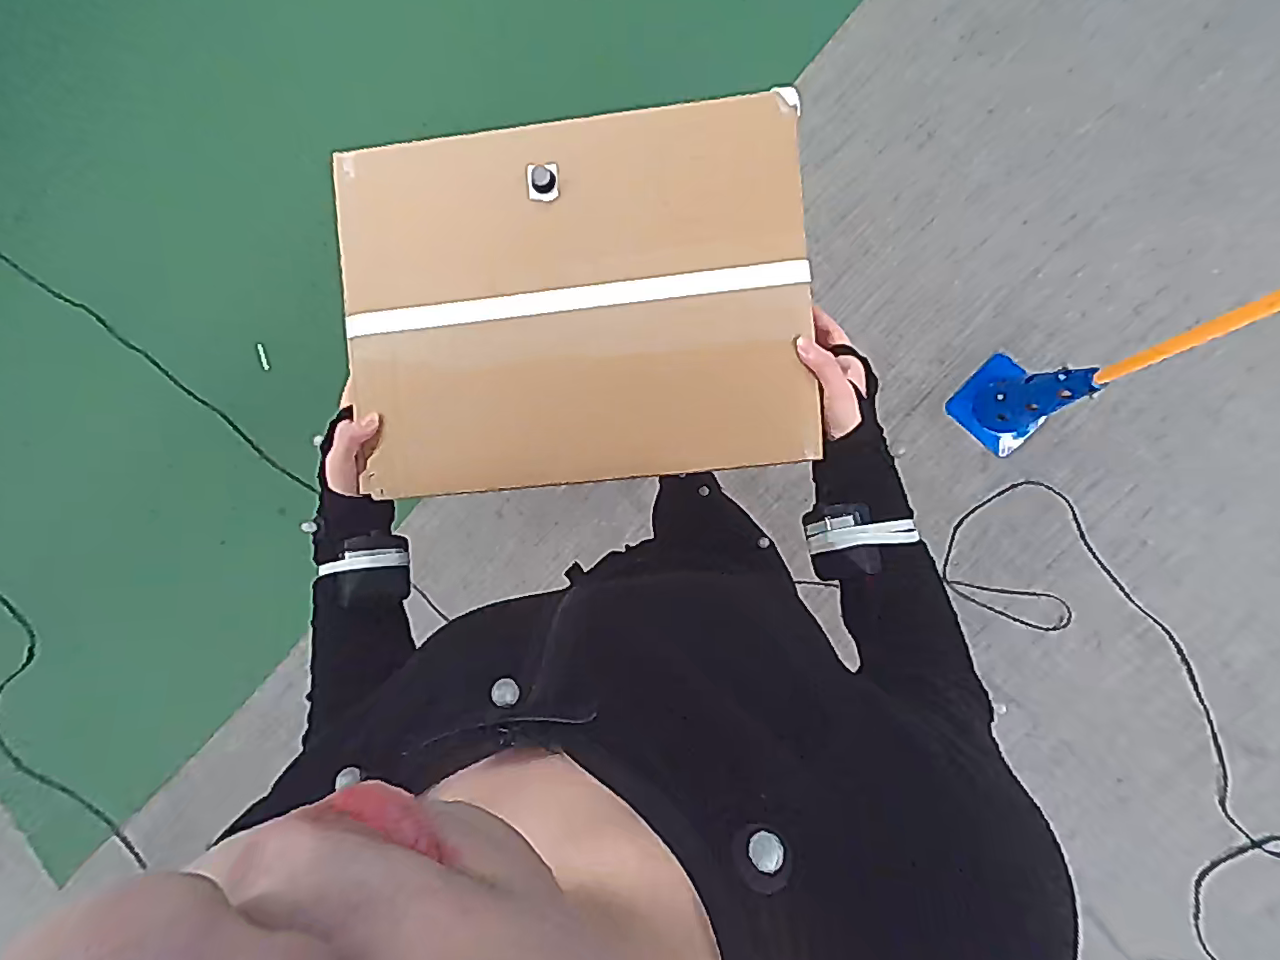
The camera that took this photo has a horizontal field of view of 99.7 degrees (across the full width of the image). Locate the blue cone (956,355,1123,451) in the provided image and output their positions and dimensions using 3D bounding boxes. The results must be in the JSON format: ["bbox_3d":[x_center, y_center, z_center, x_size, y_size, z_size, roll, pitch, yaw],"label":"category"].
[{"bbox_3d":[0.889,-0.198,1.184,0.192,0.380,0.193,41,94,6],"label":"blue cone"}]
